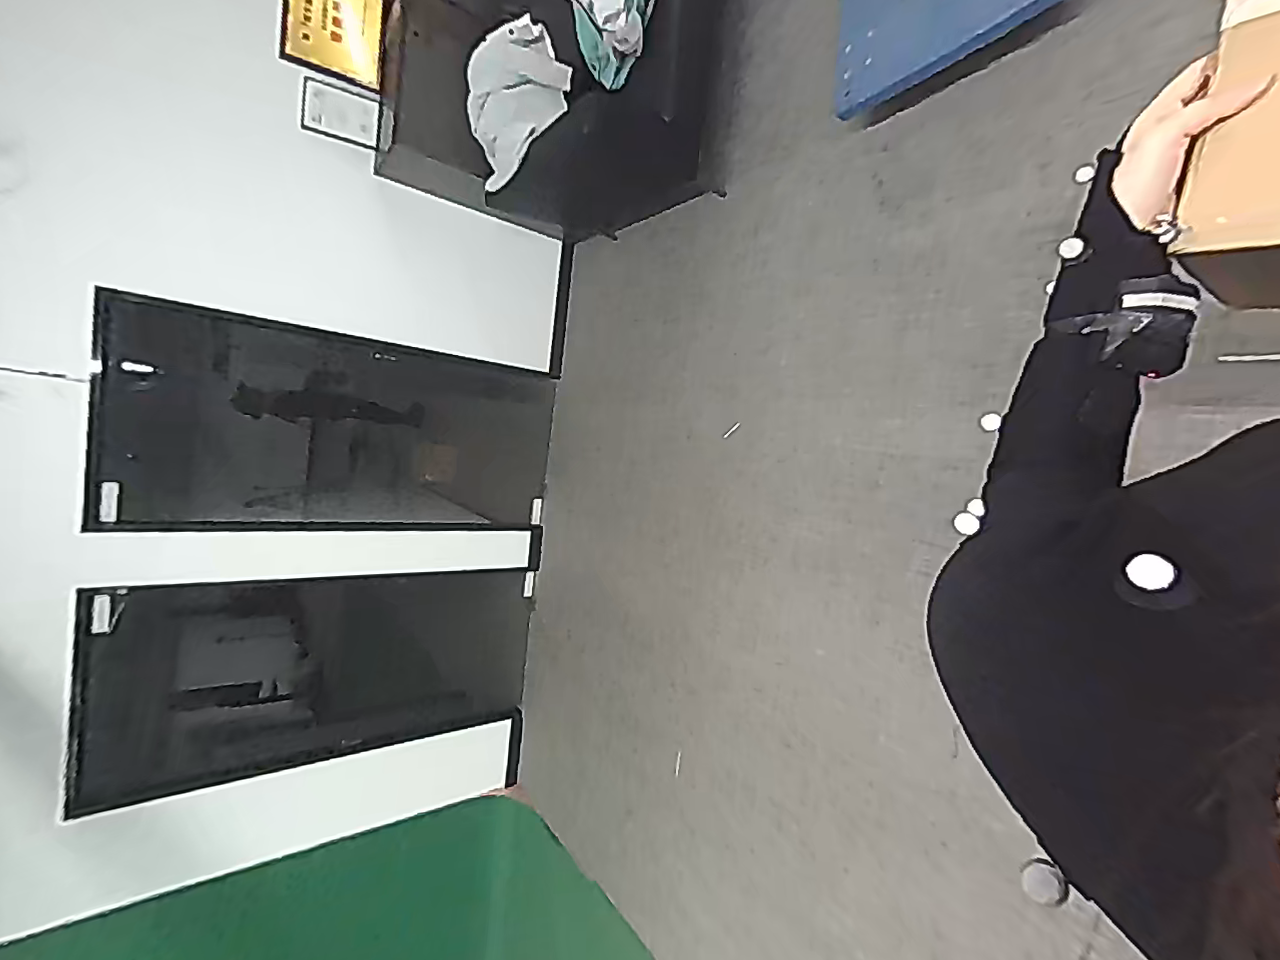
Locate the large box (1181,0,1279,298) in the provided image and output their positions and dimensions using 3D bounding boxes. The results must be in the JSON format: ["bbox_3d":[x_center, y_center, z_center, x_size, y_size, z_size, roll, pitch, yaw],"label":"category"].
[{"bbox_3d":[0.659,-0.297,0.314,0.408,0.320,0.320,18,107,53],"label":"large box"}]
